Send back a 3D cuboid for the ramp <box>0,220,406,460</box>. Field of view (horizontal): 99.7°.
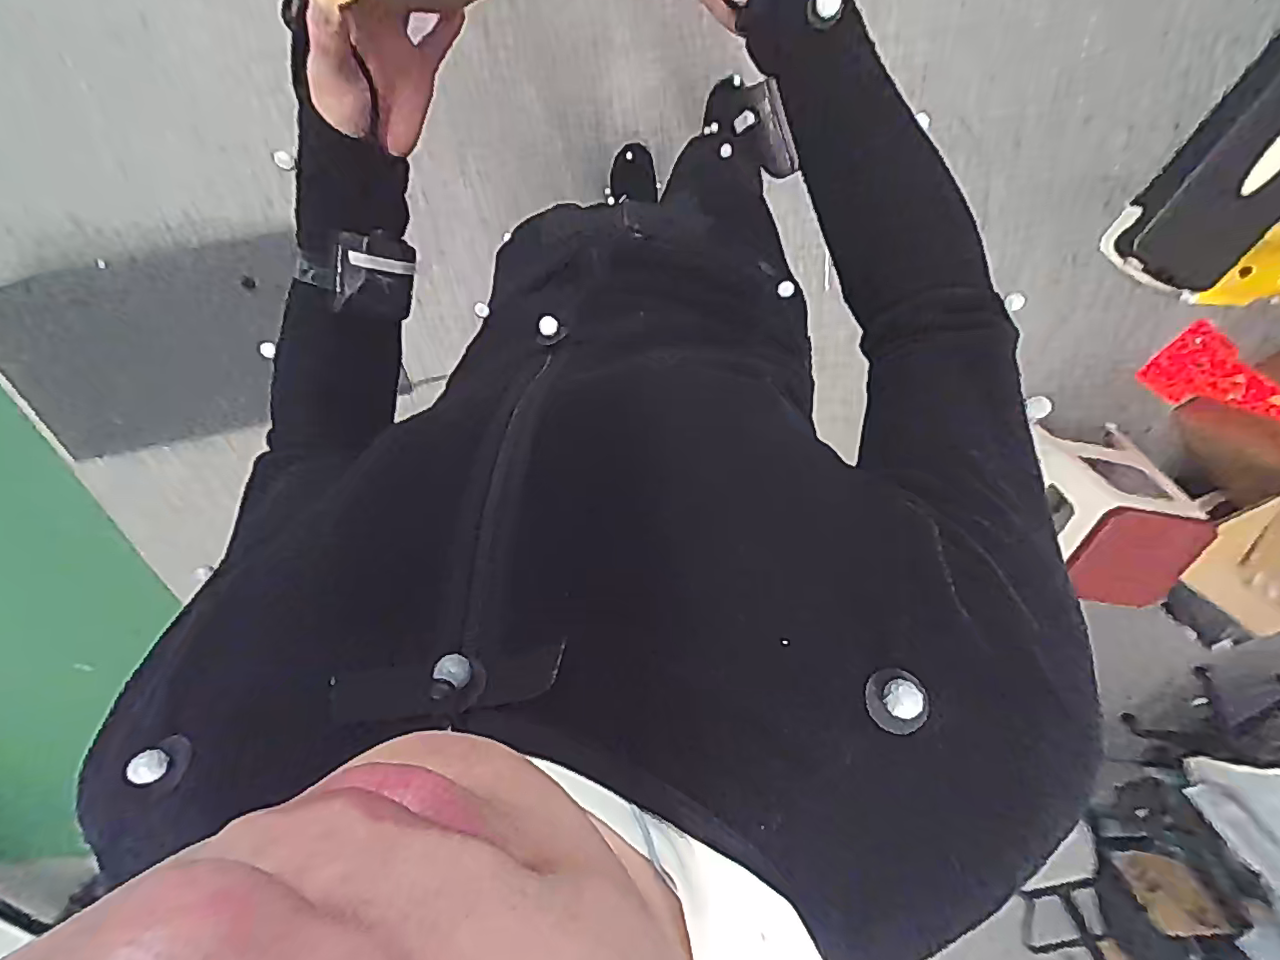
[{"bbox_3d":[-1.231,-0.370,1.495,0.991,0.206,0.509,-8,121,6],"label":"ramp"}]
